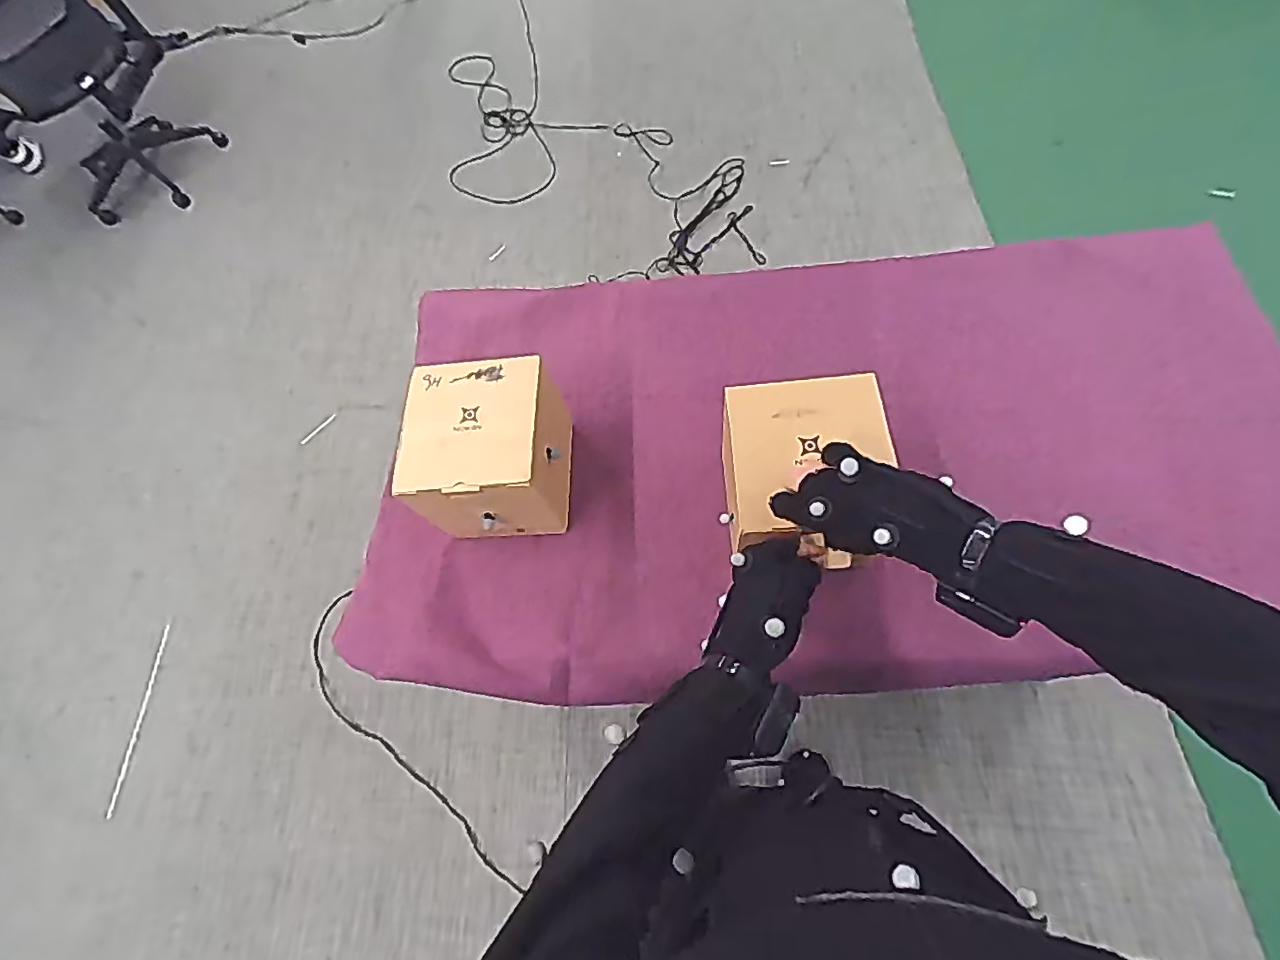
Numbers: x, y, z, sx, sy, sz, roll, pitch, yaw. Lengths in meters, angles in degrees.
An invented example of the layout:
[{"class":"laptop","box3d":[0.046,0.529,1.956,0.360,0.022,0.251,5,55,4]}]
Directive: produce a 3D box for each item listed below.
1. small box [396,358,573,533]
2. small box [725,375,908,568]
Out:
[{"class":"small box","box3d":[-0.188,-0.033,0.708,0.168,0.176,0.179,-4,66,6]},{"class":"small box","box3d":[0.190,0.002,0.638,0.168,0.176,0.179,-4,65,6]}]
